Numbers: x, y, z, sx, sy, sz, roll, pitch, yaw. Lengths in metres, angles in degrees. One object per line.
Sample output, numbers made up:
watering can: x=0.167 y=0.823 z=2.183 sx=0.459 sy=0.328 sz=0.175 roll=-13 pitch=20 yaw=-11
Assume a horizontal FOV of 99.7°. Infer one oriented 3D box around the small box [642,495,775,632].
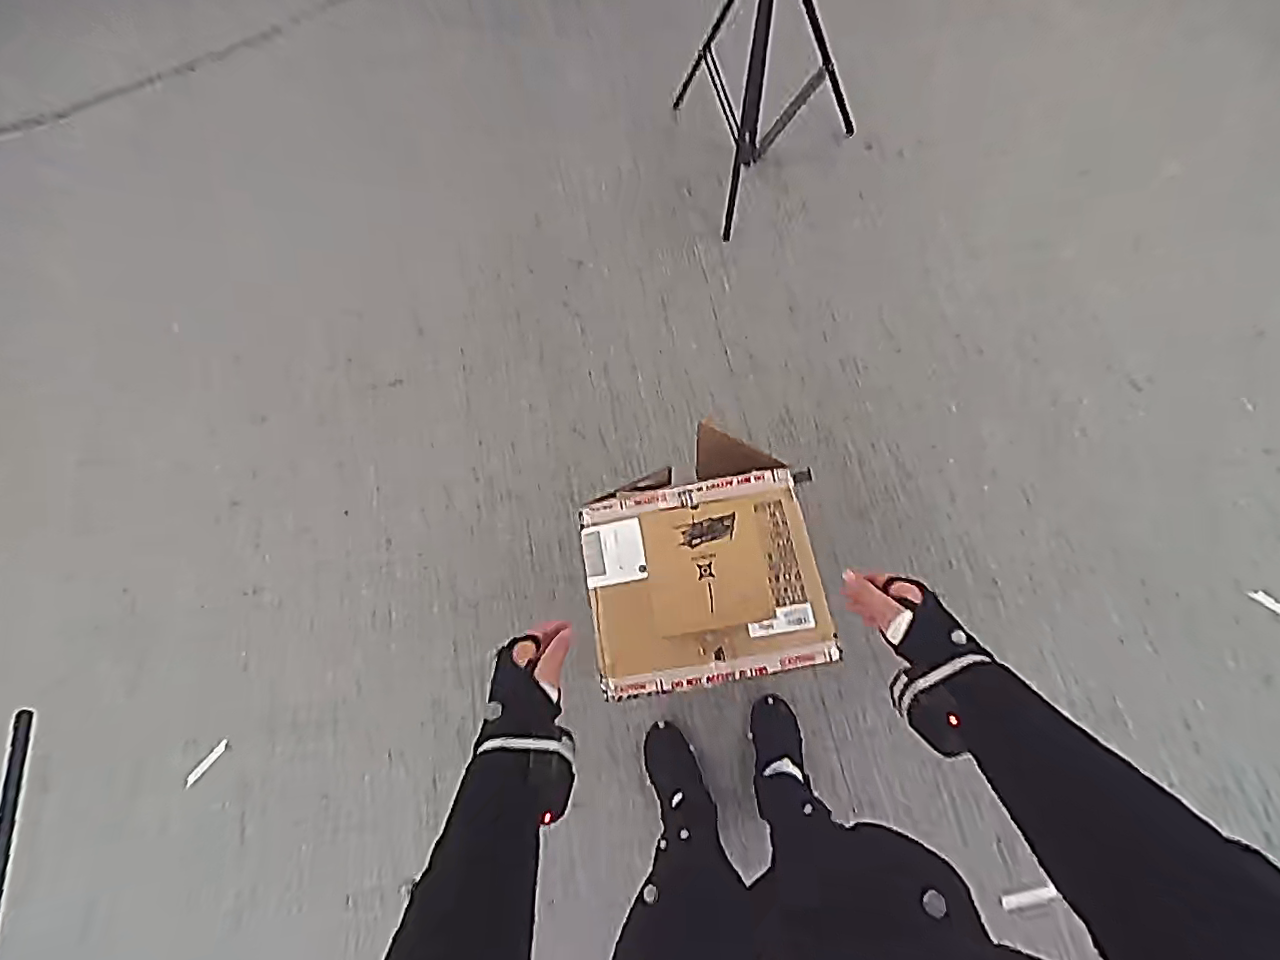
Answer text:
small box: x=0.098 y=0.135 z=0.832 sx=0.168 sy=0.176 sz=0.179 roll=-9 pitch=75 yaw=2
